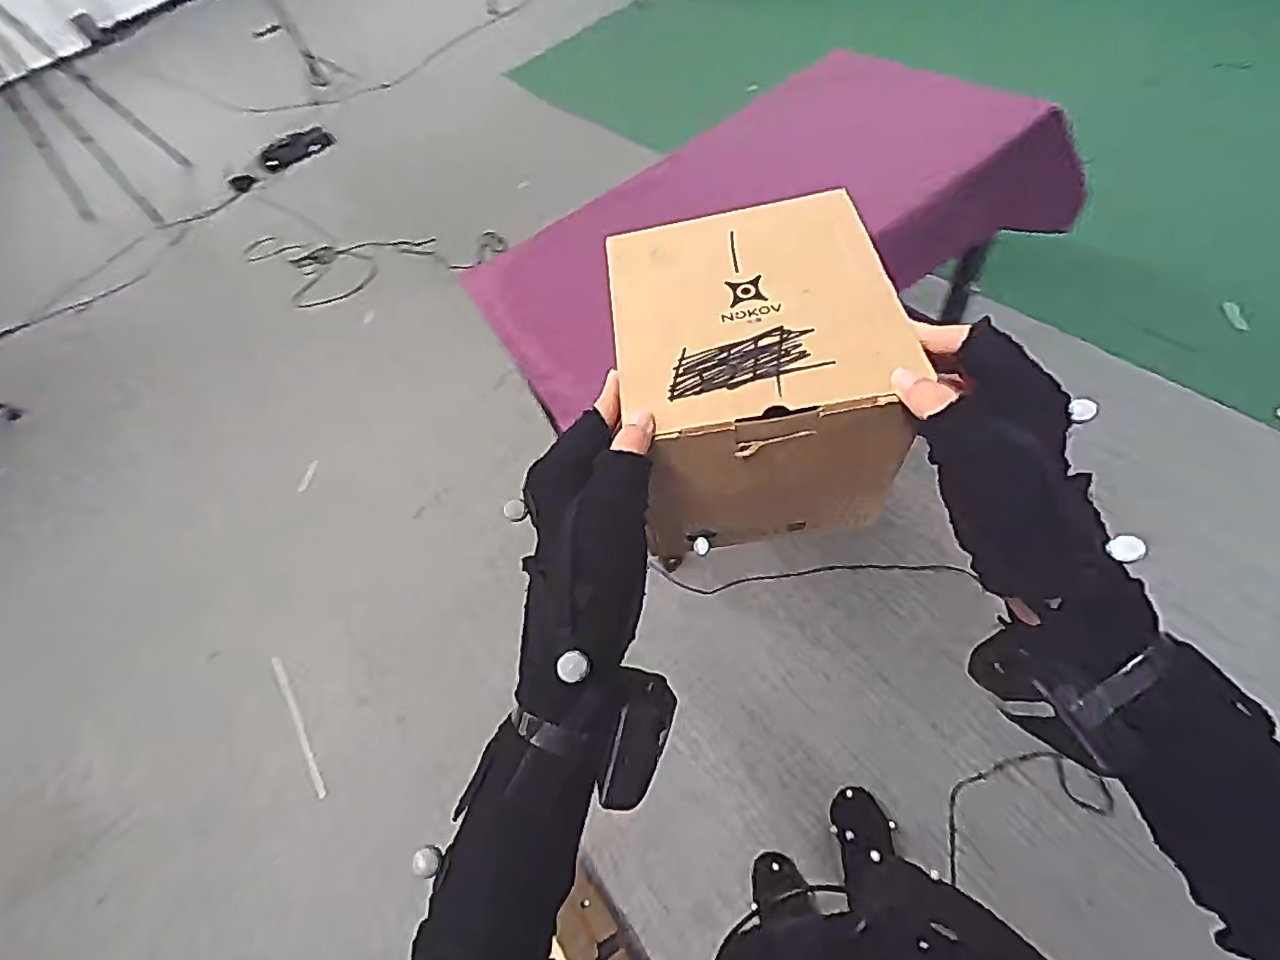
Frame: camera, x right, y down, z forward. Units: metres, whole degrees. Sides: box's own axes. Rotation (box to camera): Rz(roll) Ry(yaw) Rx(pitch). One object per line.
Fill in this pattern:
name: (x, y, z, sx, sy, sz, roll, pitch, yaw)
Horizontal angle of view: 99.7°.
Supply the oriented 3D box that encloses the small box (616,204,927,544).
small box: (0.082, -0.063, 0.403, 0.168, 0.176, 0.179, -9, 58, 6)
